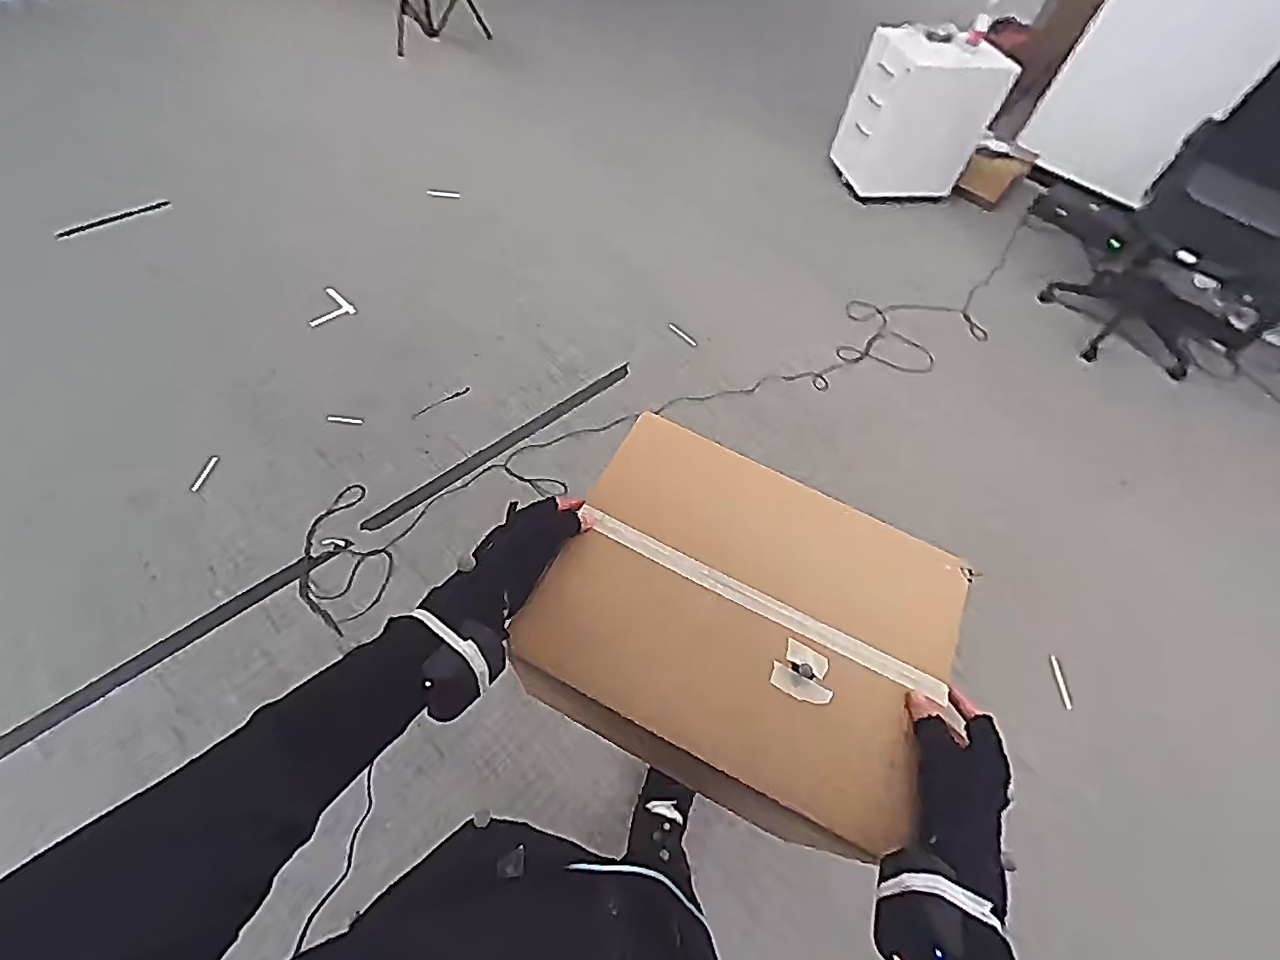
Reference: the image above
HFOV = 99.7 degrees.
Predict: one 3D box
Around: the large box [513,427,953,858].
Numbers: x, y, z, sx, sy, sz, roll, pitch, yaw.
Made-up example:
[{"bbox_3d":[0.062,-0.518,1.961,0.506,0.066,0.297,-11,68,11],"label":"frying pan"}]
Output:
[{"bbox_3d":[0.097,0.203,0.696,0.408,0.320,0.320,27,63,7],"label":"large box"}]
